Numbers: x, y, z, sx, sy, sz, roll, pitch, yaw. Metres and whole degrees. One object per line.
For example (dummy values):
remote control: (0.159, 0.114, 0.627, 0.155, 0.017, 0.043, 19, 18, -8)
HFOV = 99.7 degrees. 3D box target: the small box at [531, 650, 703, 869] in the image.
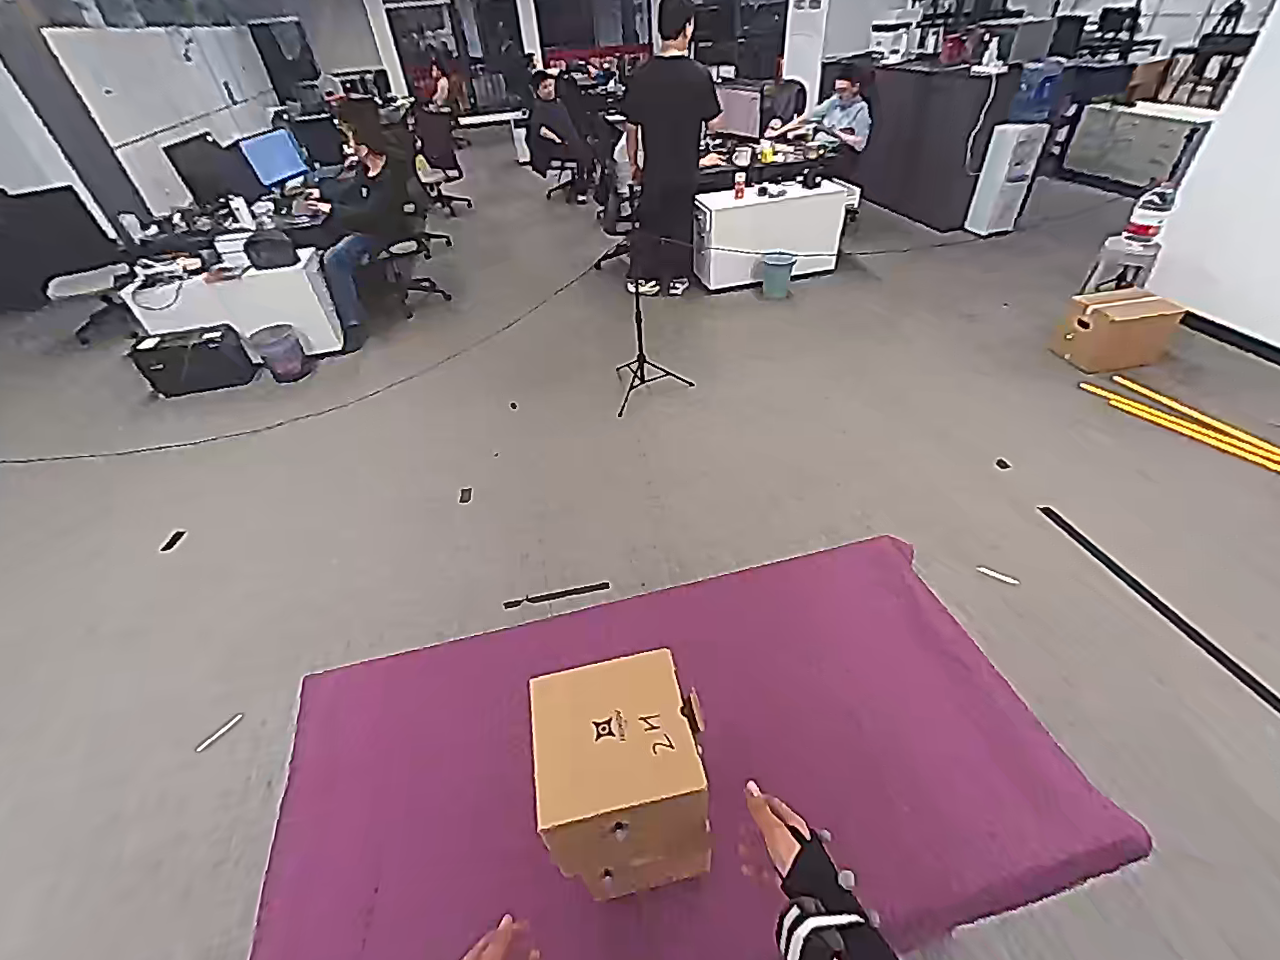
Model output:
small box: (-0.027, 0.336, 0.650, 0.179, 0.176, 0.168, -10, 41, -6)
